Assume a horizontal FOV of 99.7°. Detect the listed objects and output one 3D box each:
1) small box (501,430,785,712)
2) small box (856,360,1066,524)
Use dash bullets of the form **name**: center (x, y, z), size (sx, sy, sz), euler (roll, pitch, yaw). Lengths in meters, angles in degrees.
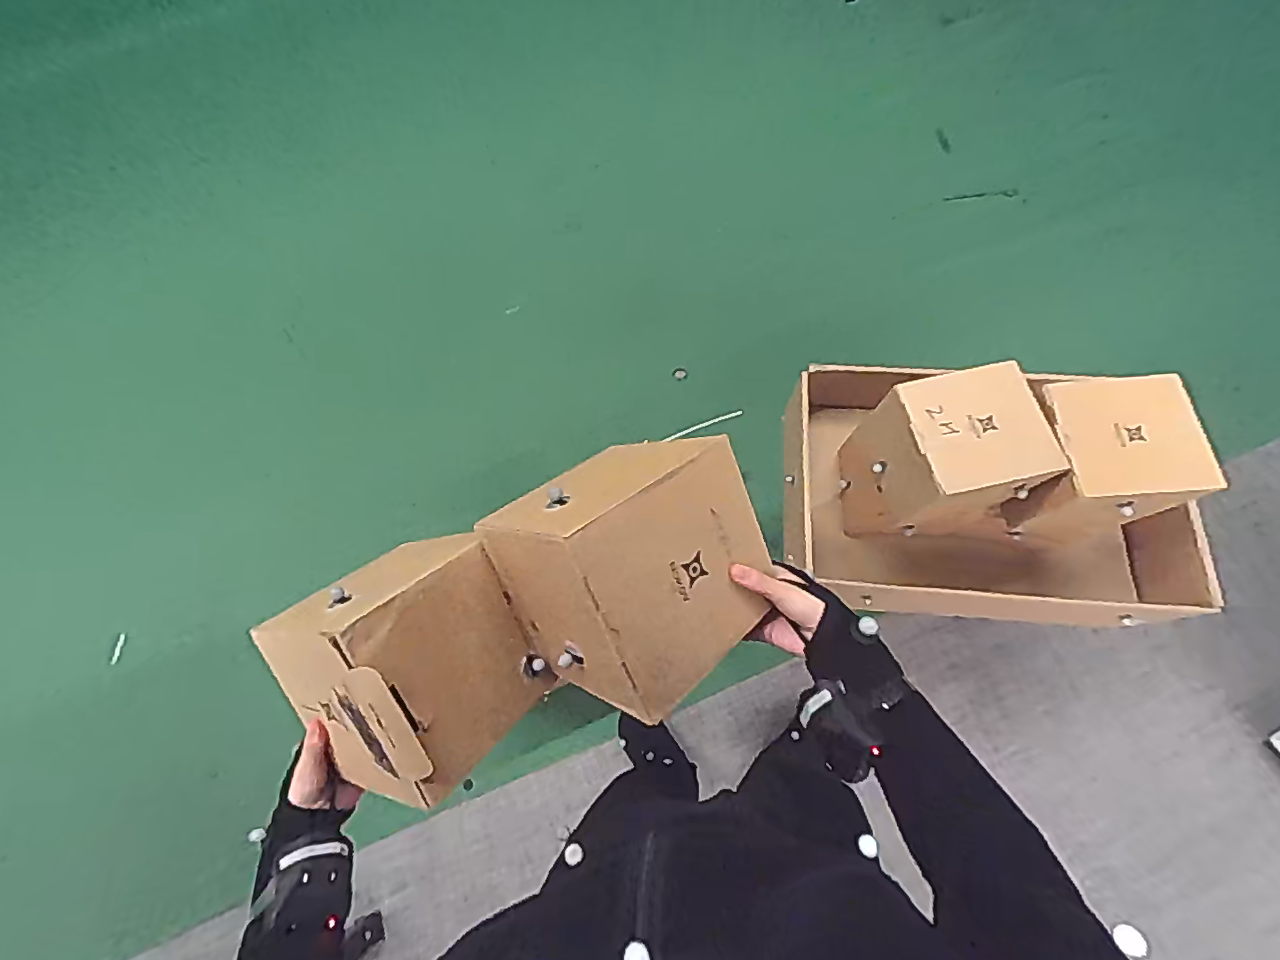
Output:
- **small box**: center (-0.005, 0.068, 0.491), size (0.179, 0.176, 0.168), euler (-31, 107, -34)
- **small box**: center (0.447, -0.048, 0.787), size (0.179, 0.176, 0.168), euler (-12, 70, -2)
